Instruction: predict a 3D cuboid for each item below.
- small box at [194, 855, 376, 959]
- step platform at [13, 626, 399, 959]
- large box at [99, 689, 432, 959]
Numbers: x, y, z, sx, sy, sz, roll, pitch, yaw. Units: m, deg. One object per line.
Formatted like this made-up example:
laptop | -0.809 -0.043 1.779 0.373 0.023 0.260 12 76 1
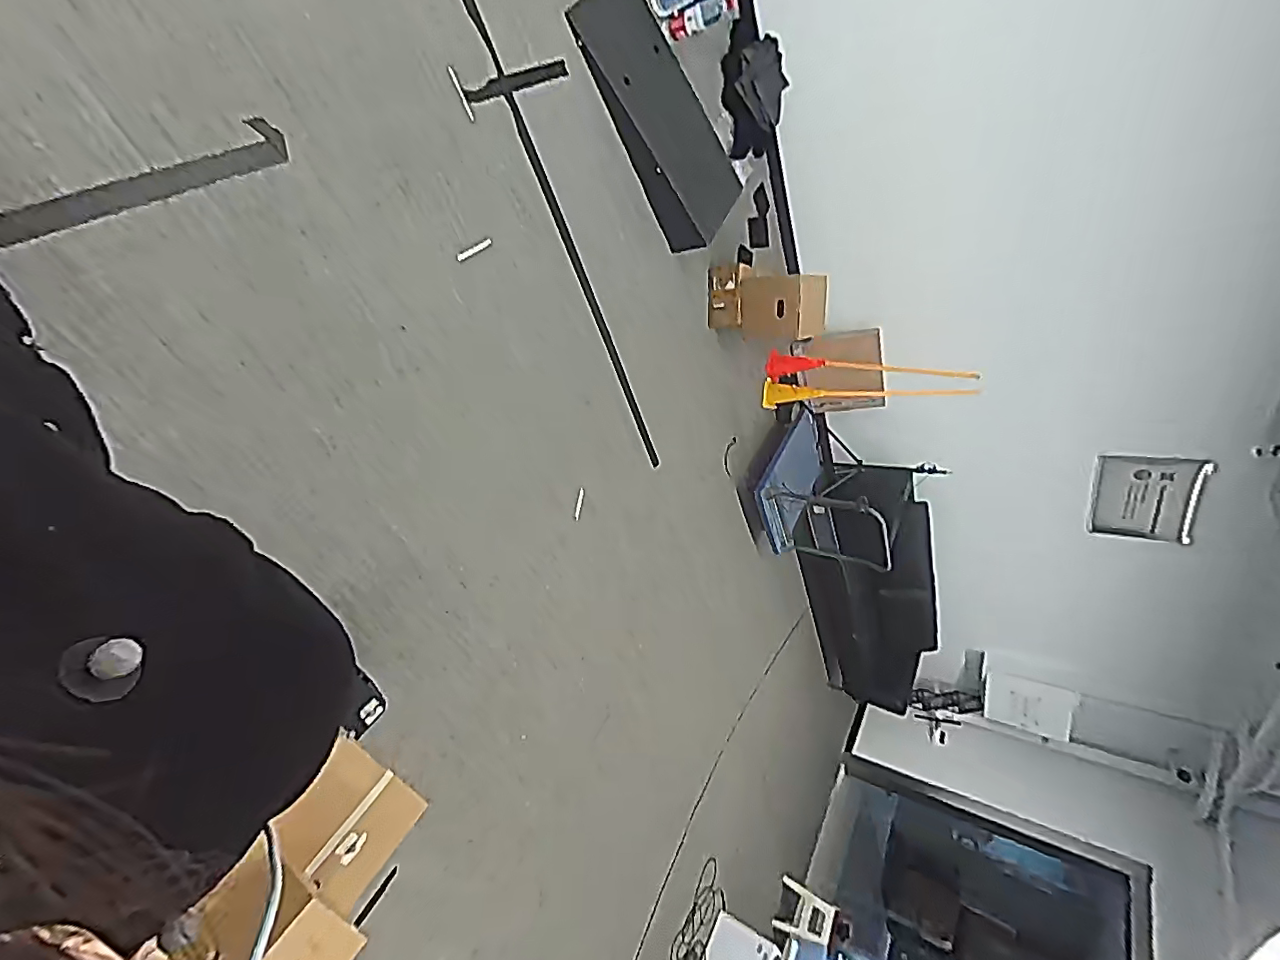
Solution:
small box | -0.584 0.773 0.885 0.179 0.176 0.168 -45 128 -40
step platform | -0.914 0.674 1.240 0.684 0.204 0.286 -46 129 -40
large box | -0.729 0.717 1.094 0.408 0.320 0.320 -51 133 -37
